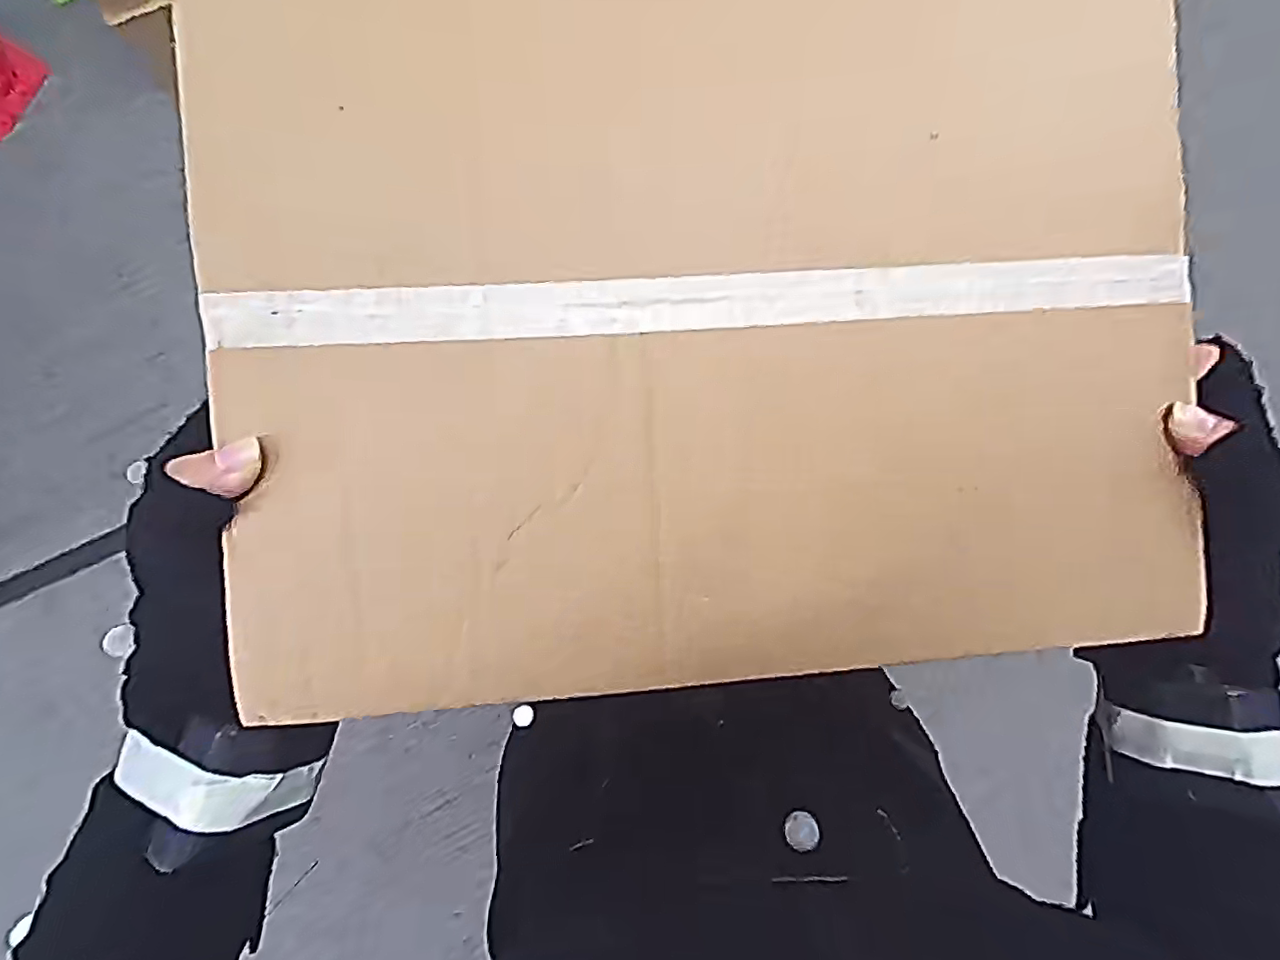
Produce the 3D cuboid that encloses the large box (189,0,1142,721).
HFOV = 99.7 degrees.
[{"bbox_3d":[0.018,-0.075,0.383,0.408,0.320,0.320,-5,91,-5],"label":"large box"}]
